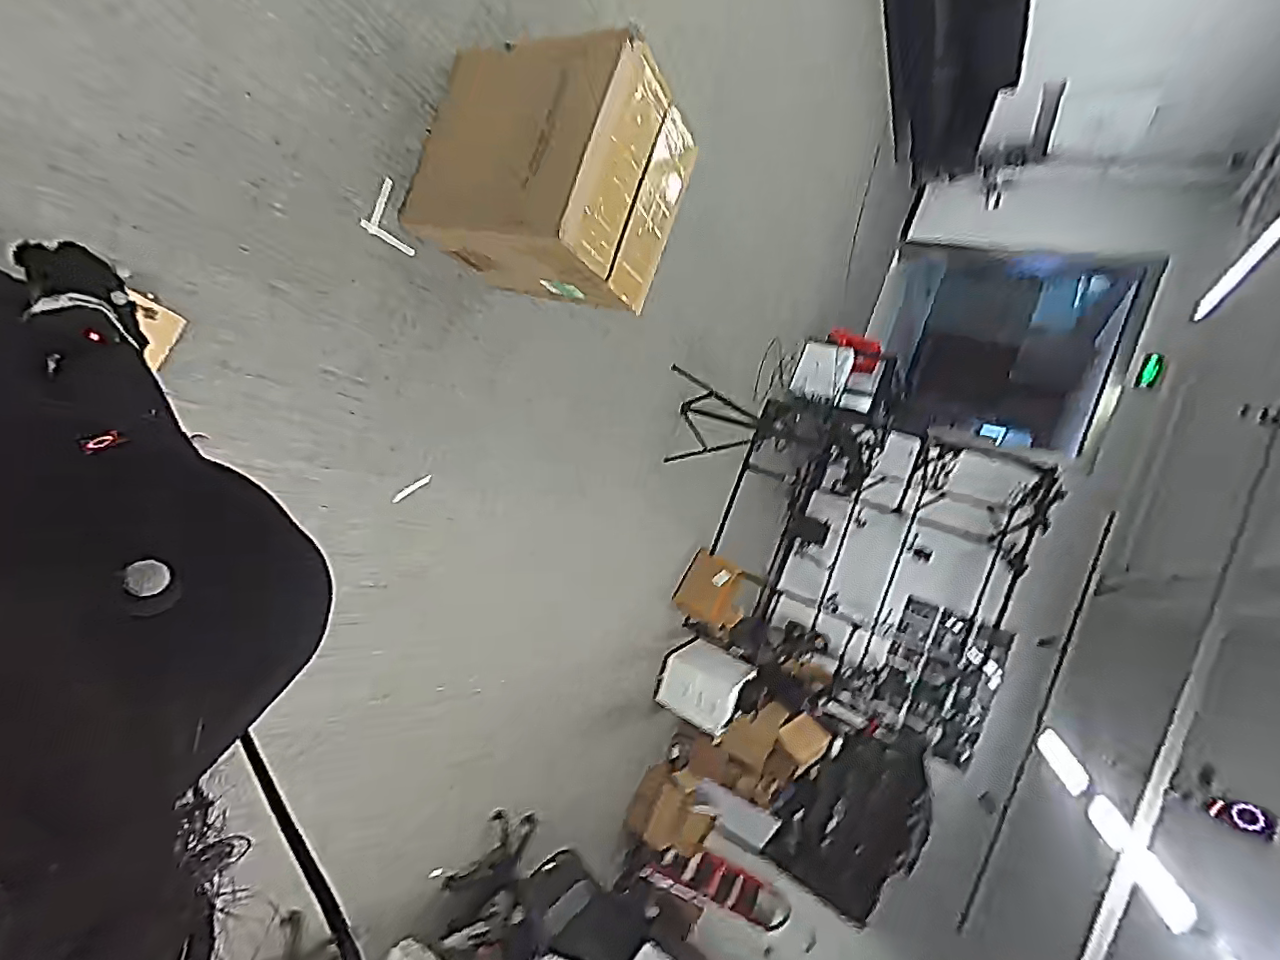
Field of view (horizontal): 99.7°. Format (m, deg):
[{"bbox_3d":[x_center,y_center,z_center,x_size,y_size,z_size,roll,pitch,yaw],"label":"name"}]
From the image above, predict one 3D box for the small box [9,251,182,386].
[{"bbox_3d":[-1.051,-0.312,1.043,0.179,0.176,0.168,-63,150,-9],"label":"small box"}]
